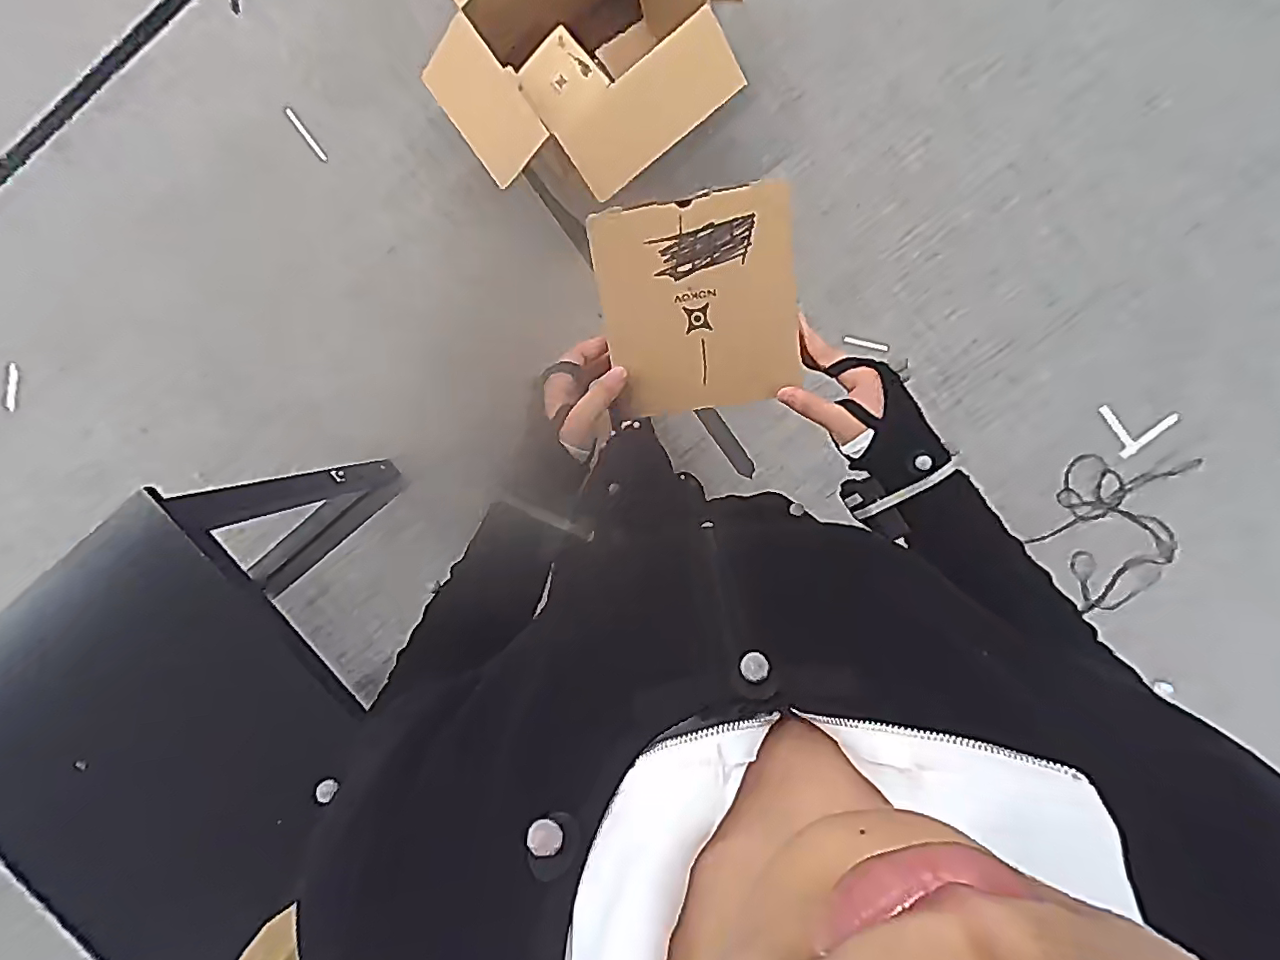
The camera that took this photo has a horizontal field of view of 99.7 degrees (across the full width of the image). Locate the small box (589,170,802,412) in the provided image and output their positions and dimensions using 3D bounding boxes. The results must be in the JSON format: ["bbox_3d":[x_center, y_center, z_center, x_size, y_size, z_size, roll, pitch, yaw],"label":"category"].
[{"bbox_3d":[0.055,-0.177,0.536,0.168,0.176,0.179,-8,107,8],"label":"small box"}]
